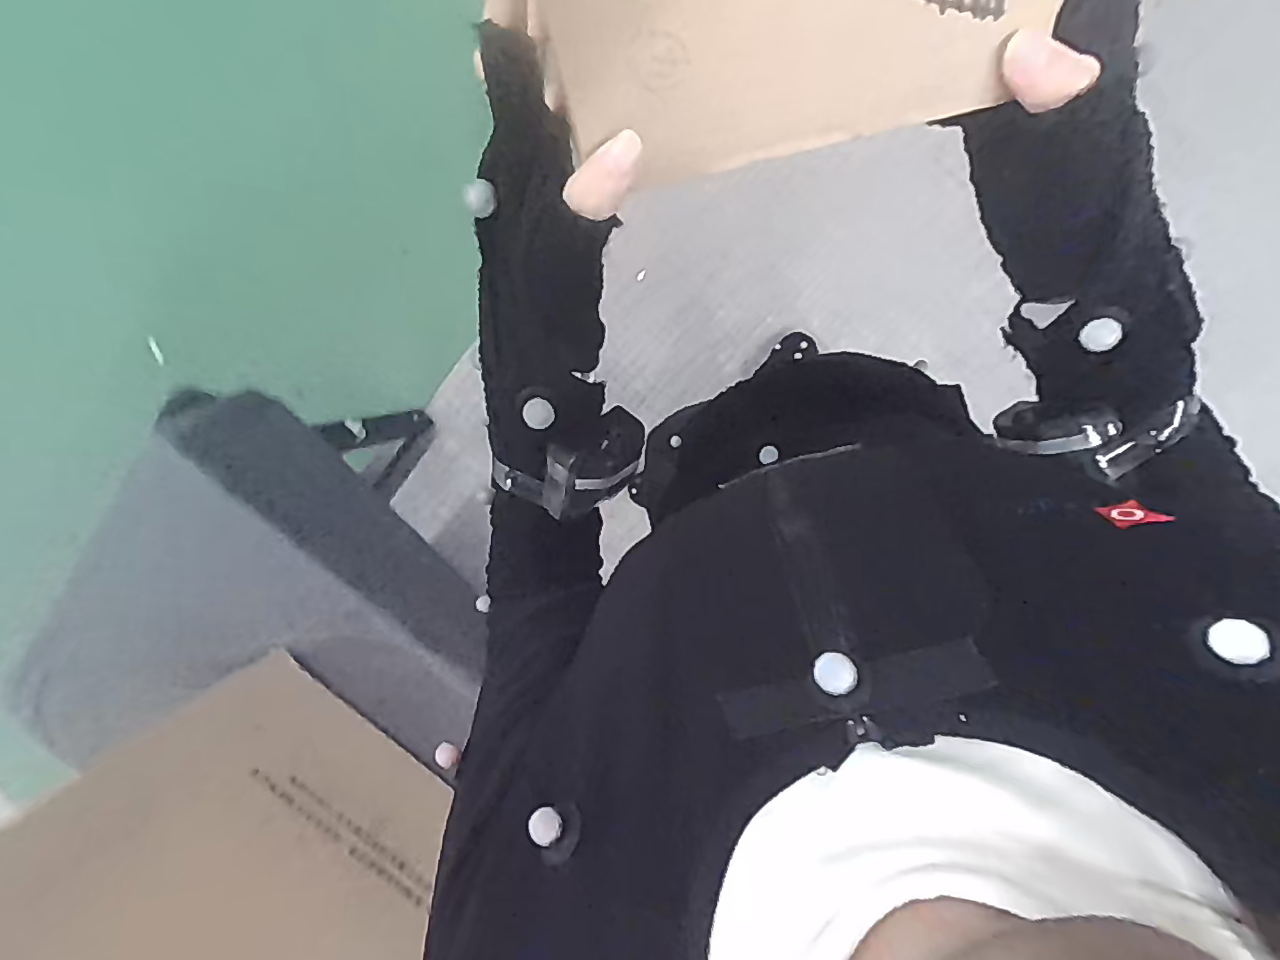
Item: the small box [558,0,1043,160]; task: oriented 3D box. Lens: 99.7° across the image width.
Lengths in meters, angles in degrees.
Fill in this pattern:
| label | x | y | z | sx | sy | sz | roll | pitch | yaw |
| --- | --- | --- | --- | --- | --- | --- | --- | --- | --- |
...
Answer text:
| label | x | y | z | sx | sy | sz | roll | pitch | yaw |
| --- | --- | --- | --- | --- | --- | --- | --- | --- | --- |
| small box | 0.047 | -0.257 | 0.216 | 0.179 | 0.176 | 0.168 | -12 | 136 | 0 |
